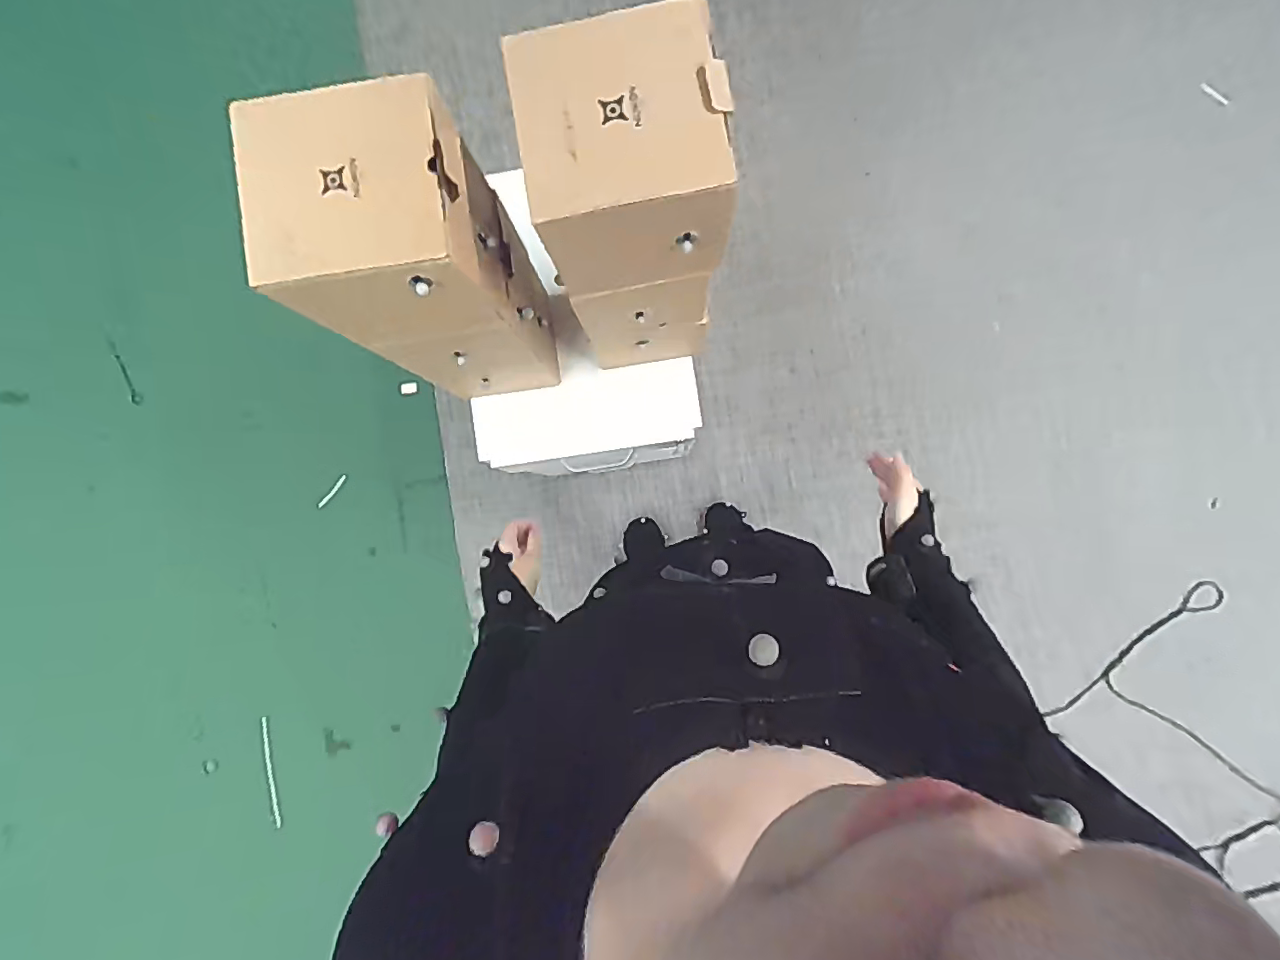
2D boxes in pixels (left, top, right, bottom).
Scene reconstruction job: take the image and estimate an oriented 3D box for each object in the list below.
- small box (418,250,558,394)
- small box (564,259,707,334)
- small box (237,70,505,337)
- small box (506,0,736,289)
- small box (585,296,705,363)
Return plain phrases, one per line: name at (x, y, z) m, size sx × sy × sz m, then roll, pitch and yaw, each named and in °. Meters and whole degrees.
small box at (-0.239, -0.242, 0.868) m, size 0.179 × 0.176 × 0.168 m, roll -8°, pitch 88°, yaw 0°
small box at (-0.013, -0.300, 0.694) m, size 0.168 × 0.176 × 0.179 m, roll -11°, pitch 88°, yaw 2°
small box at (-0.251, -0.255, 0.540) m, size 0.179 × 0.176 × 0.168 m, roll -8°, pitch 87°, yaw 1°
small box at (-0.013, -0.309, 0.531) m, size 0.179 × 0.176 × 0.168 m, roll -9°, pitch 88°, yaw 4°
small box at (0.002, -0.293, 0.859) m, size 0.179 × 0.176 × 0.168 m, roll -8°, pitch 88°, yaw 2°
